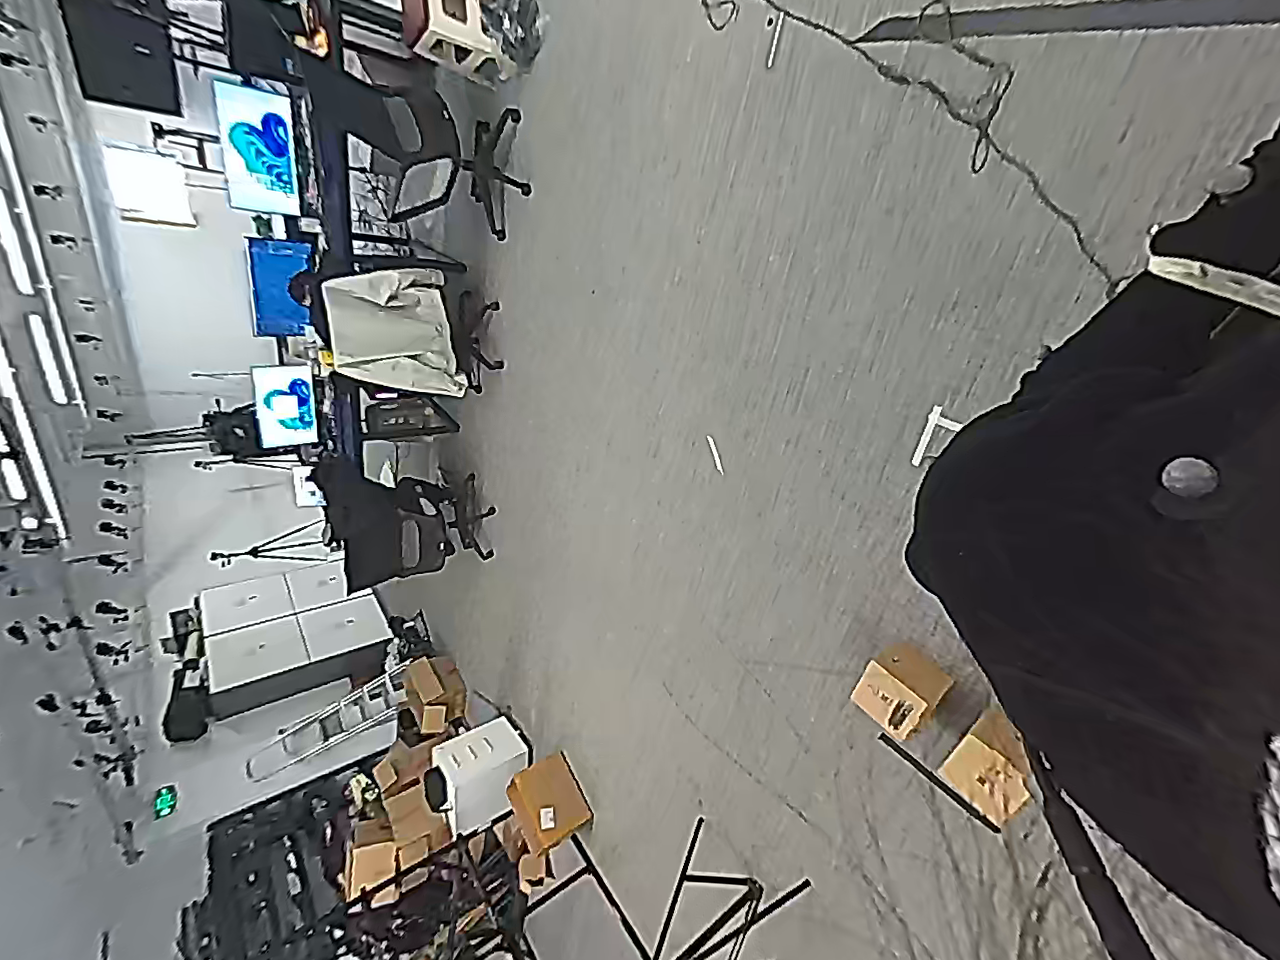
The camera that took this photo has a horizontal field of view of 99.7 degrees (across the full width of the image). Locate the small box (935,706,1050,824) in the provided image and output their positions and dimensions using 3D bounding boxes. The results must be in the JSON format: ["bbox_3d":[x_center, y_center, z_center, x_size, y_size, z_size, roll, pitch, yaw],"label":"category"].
[{"bbox_3d":[0.909,0.725,1.390,0.168,0.176,0.179,40,127,38],"label":"small box"}]
